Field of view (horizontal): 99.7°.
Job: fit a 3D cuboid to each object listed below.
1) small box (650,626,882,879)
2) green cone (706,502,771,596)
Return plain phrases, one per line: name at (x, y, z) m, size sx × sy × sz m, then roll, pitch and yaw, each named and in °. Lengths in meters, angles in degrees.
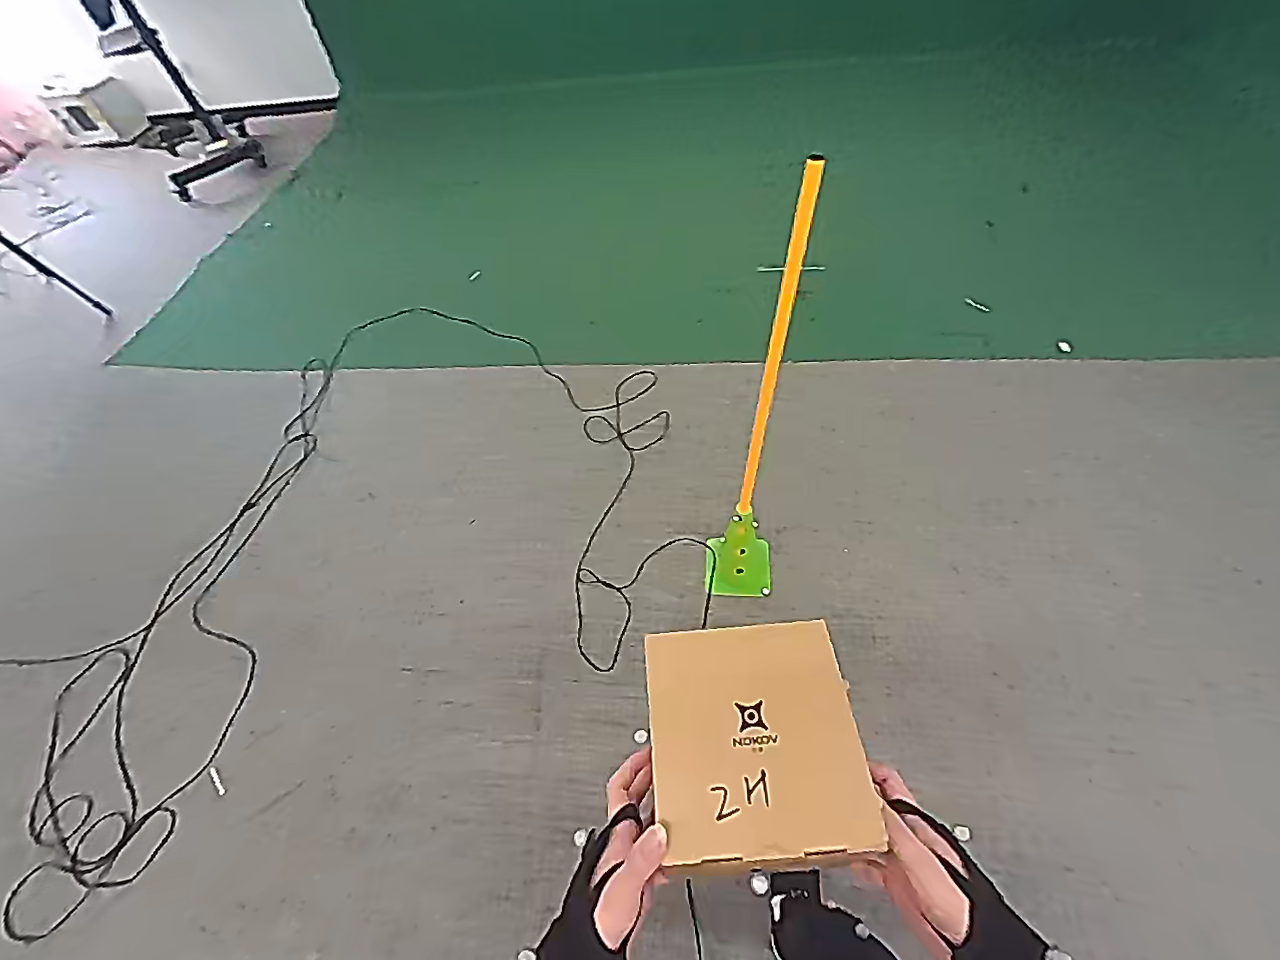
small box at (0.096, 0.256, 0.505) m, size 0.168 × 0.176 × 0.179 m, roll -5°, pitch 51°, yaw 2°
green cone at (0.295, 0.176, 1.591) m, size 0.202 × 0.368 × 0.200 m, roll 1°, pitch 54°, yaw 8°
